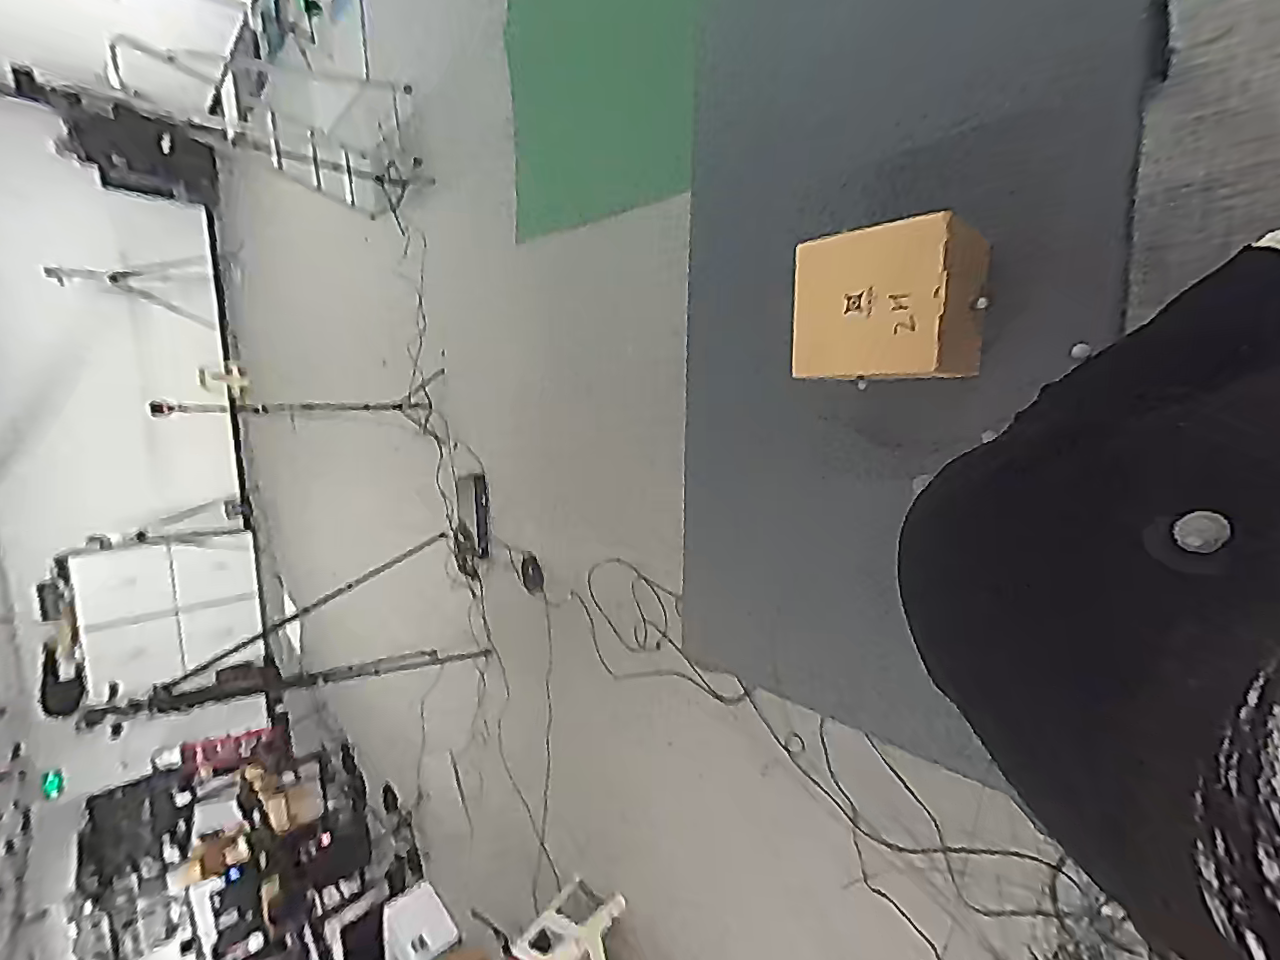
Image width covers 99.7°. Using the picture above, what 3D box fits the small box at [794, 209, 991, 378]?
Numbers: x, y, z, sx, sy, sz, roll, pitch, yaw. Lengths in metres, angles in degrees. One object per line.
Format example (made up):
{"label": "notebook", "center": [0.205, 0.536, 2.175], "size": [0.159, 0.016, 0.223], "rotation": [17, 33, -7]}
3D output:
{"label": "small box", "center": [0.316, -0.217, 0.684], "size": [0.179, 0.176, 0.168], "rotation": [7, 102, 45]}
